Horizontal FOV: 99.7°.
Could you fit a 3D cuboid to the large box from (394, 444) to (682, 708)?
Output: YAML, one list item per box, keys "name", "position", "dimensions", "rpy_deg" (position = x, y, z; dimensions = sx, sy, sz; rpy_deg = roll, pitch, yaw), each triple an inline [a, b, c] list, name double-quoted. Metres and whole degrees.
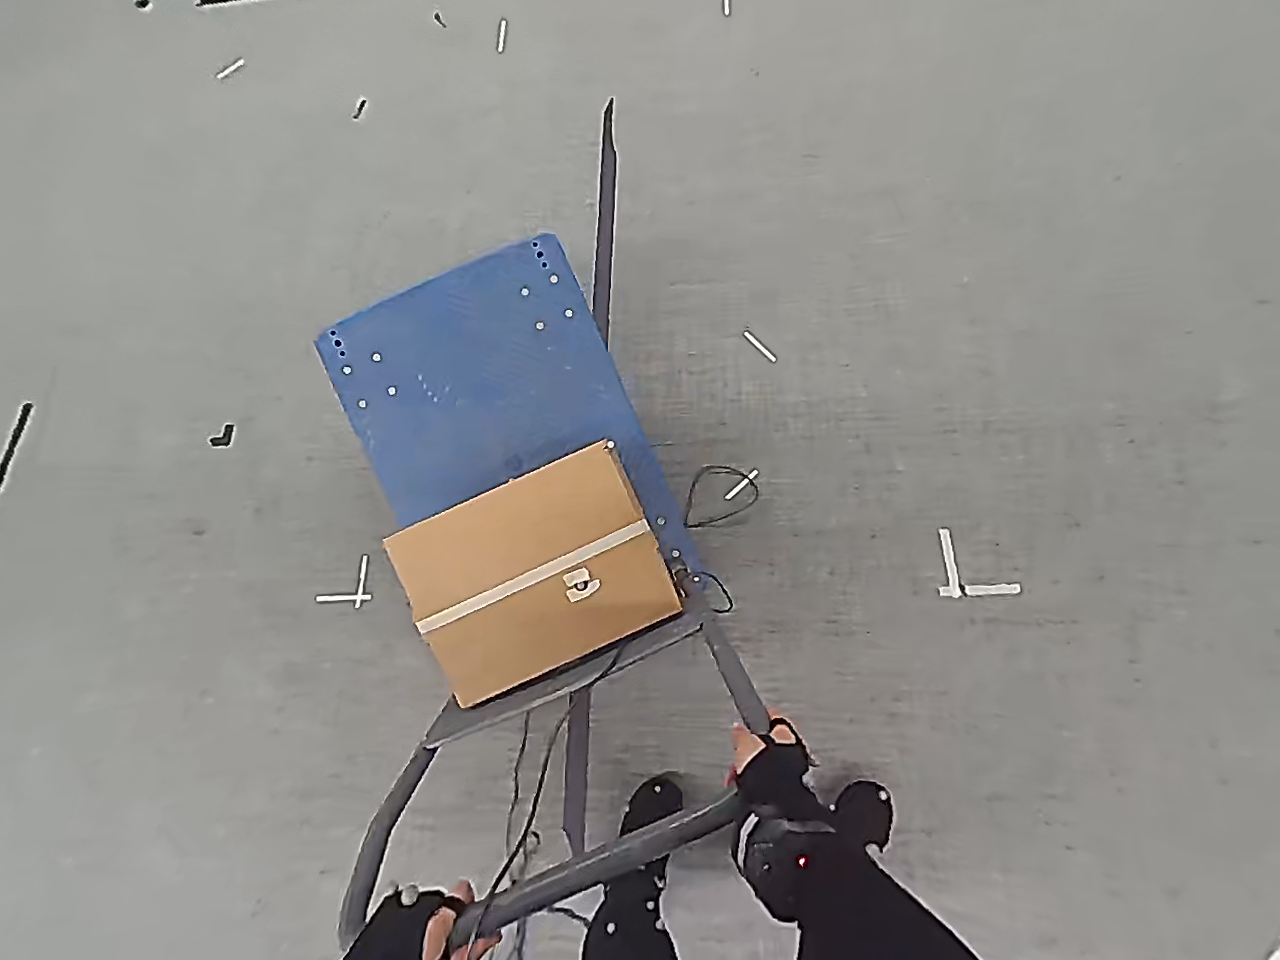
- name: "large box"
  position: [-0.175, 0.160, 1.051]
  dimensions: [0.408, 0.320, 0.320]
  rpy_deg: [-25, 92, -2]
